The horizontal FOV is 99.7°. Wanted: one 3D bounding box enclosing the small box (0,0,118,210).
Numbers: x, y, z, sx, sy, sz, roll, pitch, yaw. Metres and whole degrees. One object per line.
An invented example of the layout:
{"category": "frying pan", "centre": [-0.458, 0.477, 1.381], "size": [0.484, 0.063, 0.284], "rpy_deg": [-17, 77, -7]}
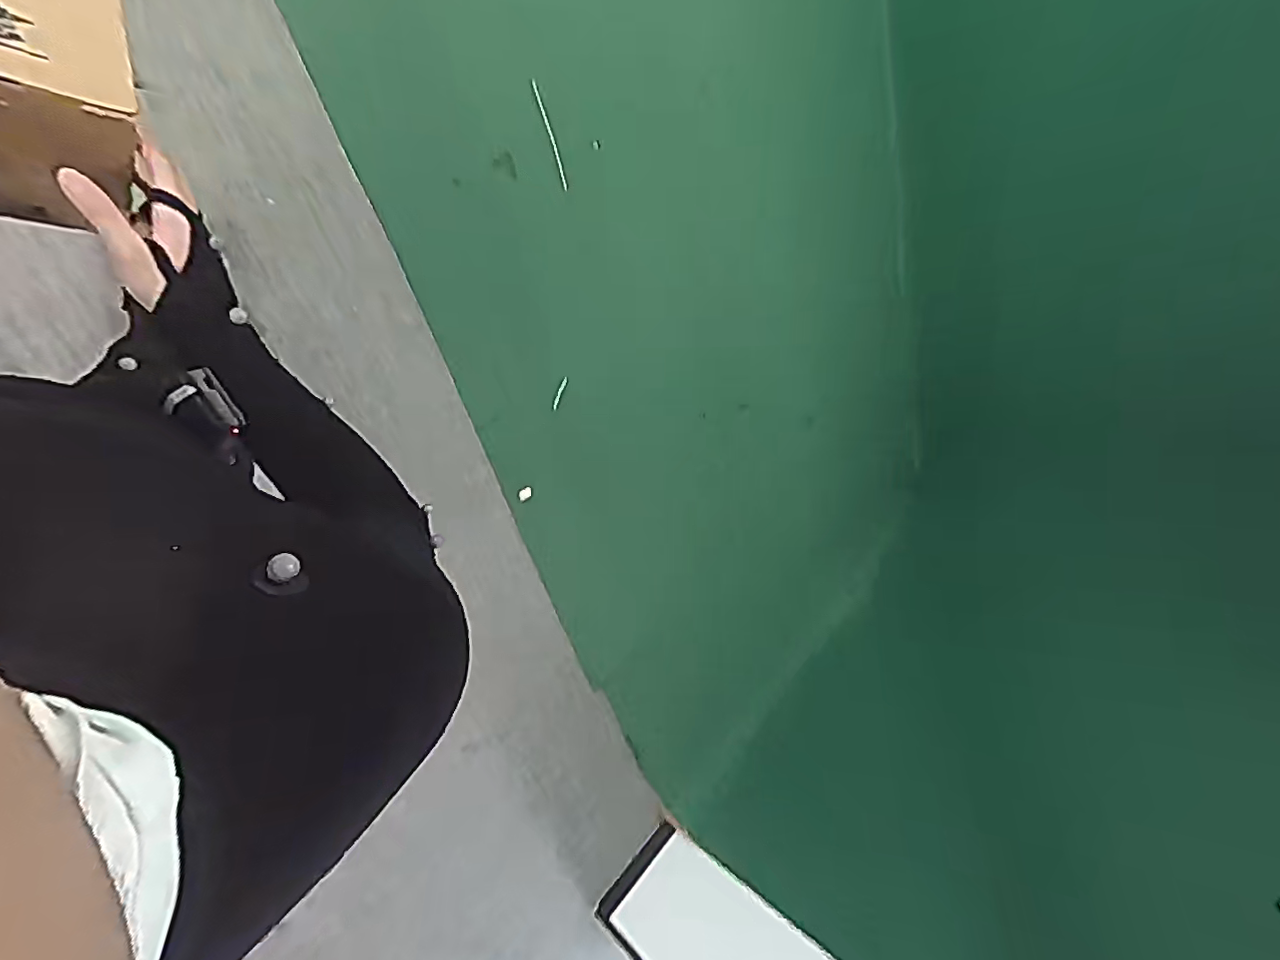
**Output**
{"category": "small box", "centre": [-0.521, -0.344, 0.412], "size": [0.168, 0.176, 0.179], "rpy_deg": [-9, 81, -46]}
